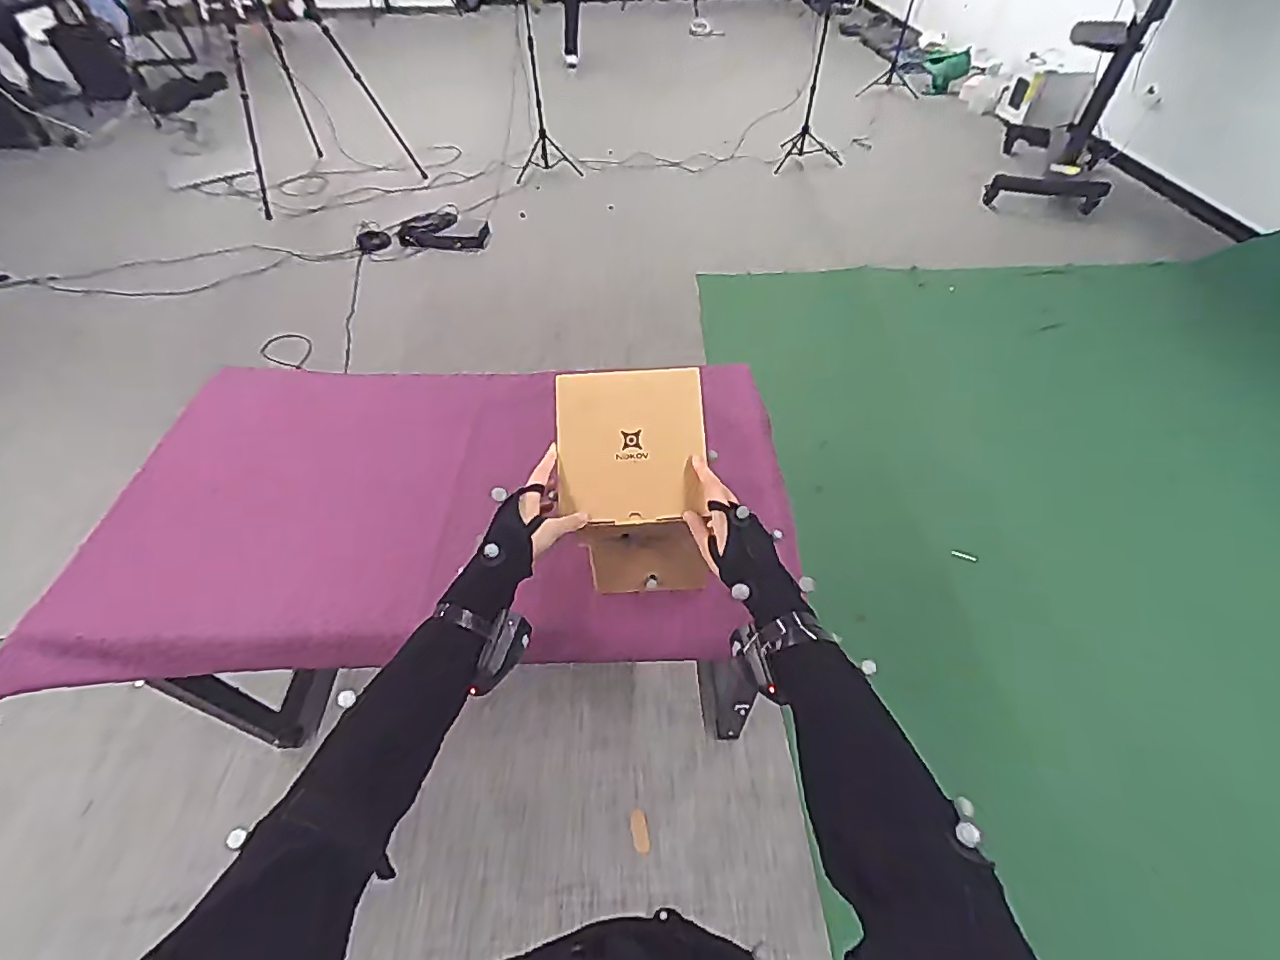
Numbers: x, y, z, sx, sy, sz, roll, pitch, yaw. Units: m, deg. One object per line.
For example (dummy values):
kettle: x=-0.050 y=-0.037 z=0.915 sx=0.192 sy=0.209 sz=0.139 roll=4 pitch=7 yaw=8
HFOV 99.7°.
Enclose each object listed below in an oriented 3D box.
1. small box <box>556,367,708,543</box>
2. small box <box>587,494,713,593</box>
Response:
small box: x=-0.012 y=-0.022 z=0.673 sx=0.168 sy=0.176 sz=0.179 roll=-3 pitch=76 yaw=0
small box: x=0.011 y=0.063 z=0.844 sx=0.179 sy=0.176 sz=0.168 roll=-2 pitch=48 yaw=-1
